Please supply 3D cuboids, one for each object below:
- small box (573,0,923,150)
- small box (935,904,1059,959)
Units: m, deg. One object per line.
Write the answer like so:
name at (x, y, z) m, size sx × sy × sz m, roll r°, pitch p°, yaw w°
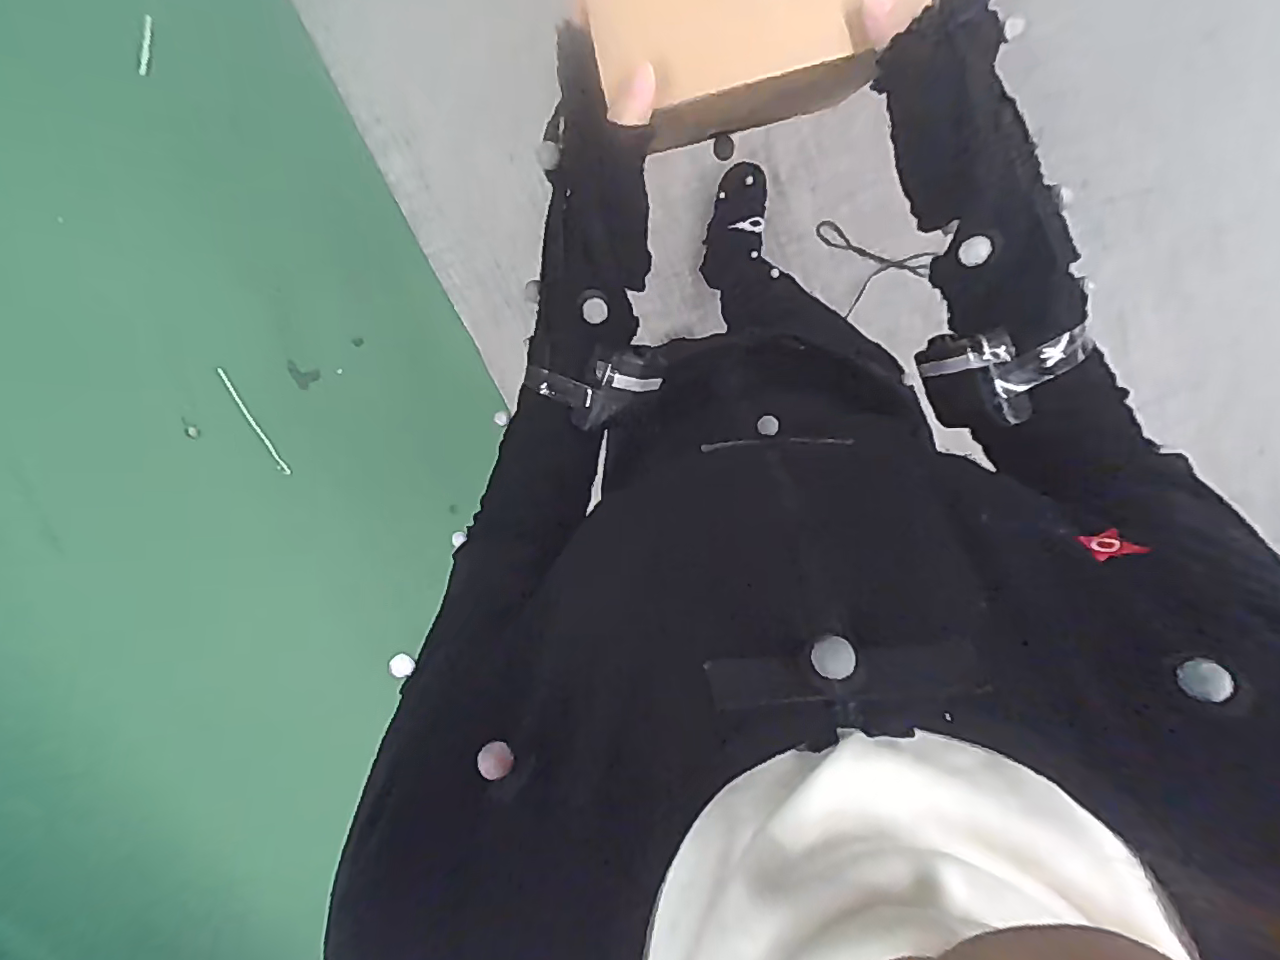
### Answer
small box at (0.043, -0.314, 0.308) m, size 0.168 × 0.176 × 0.179 m, roll -9°, pitch 114°, yaw 8°
small box at (0.629, 0.871, 0.922) m, size 0.179 × 0.176 × 0.168 m, roll -20°, pitch 110°, yaw 12°
